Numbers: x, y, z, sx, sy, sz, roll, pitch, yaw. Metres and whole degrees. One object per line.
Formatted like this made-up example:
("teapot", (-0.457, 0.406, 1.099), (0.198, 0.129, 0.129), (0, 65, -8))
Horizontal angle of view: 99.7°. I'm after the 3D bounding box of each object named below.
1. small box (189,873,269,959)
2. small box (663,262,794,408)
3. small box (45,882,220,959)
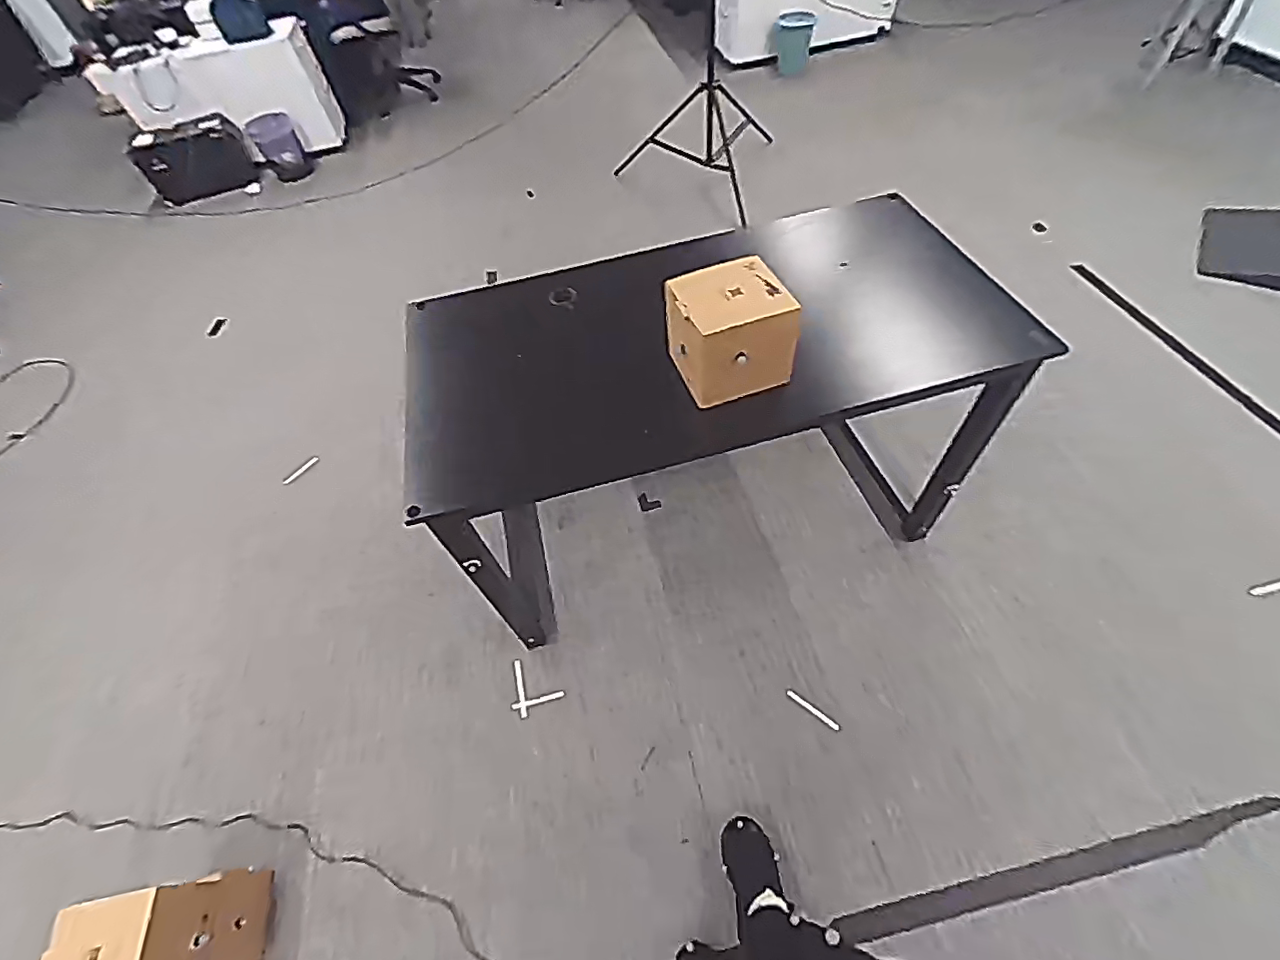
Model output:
("small box", (-0.917, 0.950, 1.131), (0.168, 0.176, 0.179), (-15, 56, -4))
("small box", (0.155, -0.255, 0.973), (0.179, 0.176, 0.168), (-19, 54, -6))
("small box", (-0.933, 0.863, 0.994), (0.179, 0.176, 0.168), (-12, 57, -4))
